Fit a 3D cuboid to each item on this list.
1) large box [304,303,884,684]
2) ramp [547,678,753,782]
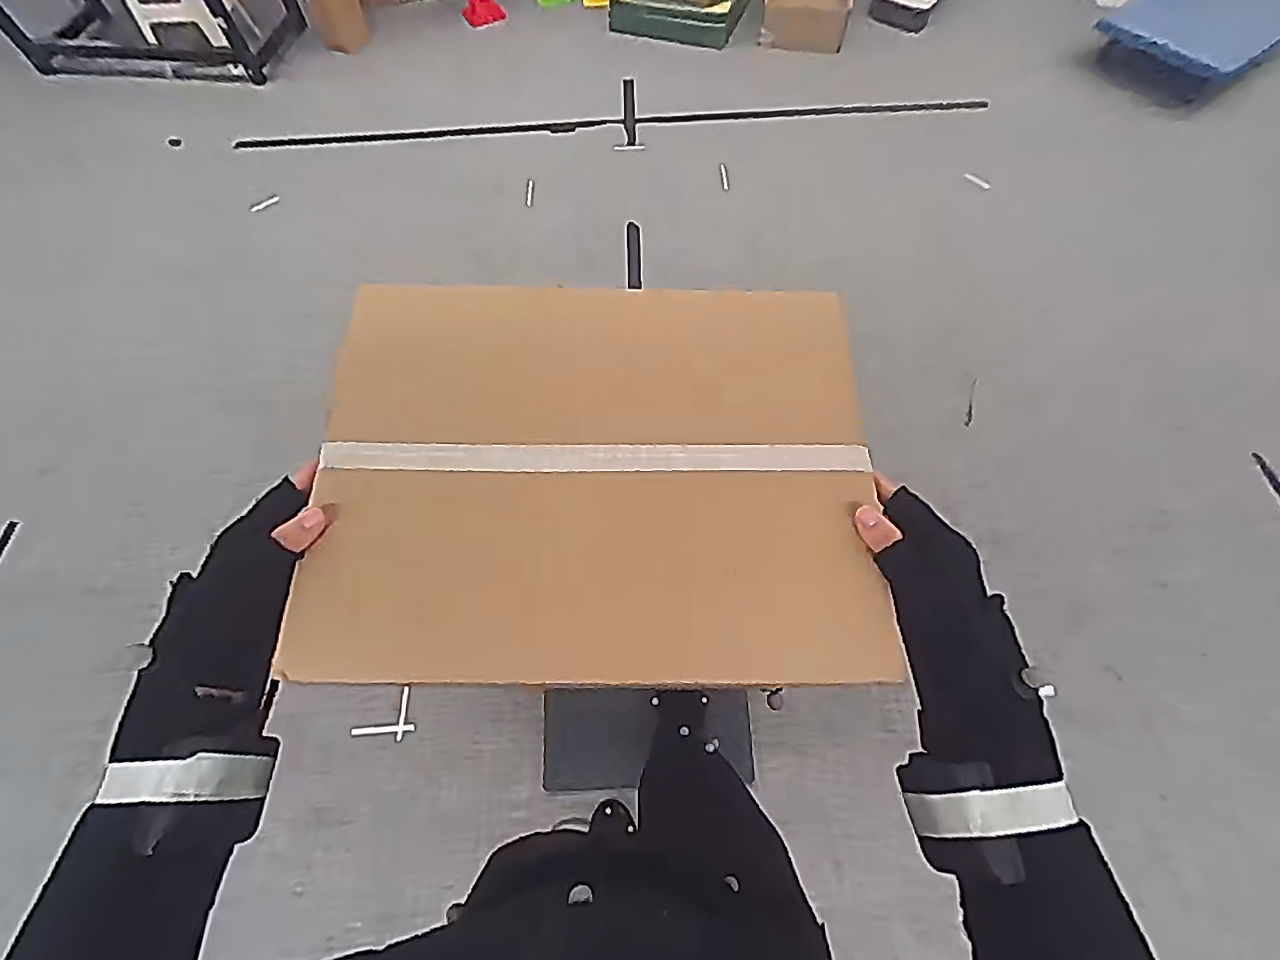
[{"bbox_3d":[-0.032,0.041,0.557,0.408,0.320,0.320,0,68,-1],"label":"large box"},{"bbox_3d":[0.006,0.220,1.406,0.509,0.206,0.991,-3,64,-1],"label":"ramp"}]
